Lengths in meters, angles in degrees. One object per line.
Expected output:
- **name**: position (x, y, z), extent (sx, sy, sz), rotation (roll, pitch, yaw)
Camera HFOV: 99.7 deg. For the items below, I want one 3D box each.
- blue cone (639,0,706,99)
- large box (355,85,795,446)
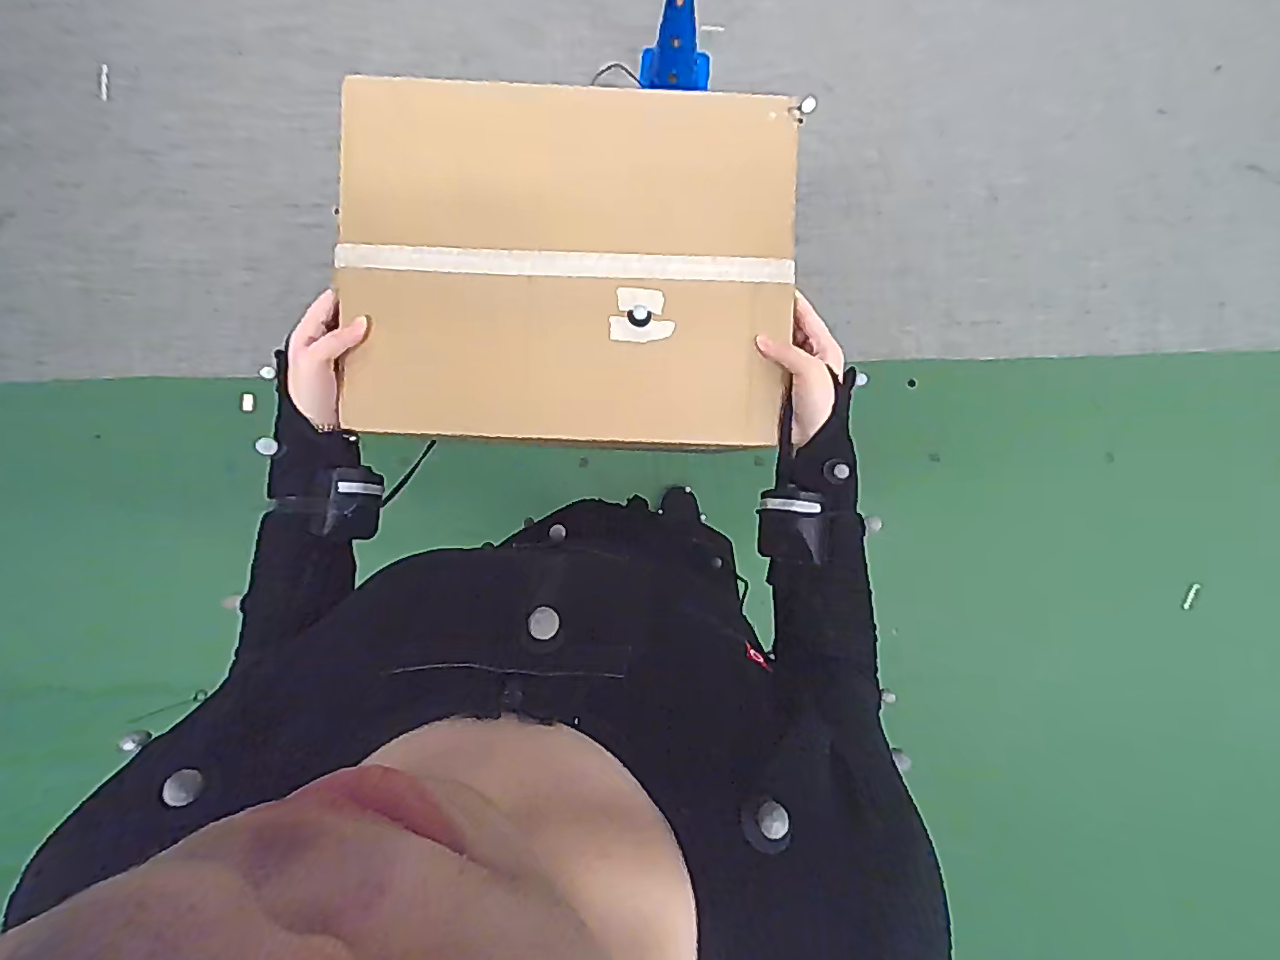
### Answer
- **blue cone**: position (0.095, -1.147, 1.412), extent (0.193, 0.380, 0.192), rotation (7, 88, 0)
- **large box**: position (-0.064, -0.202, 0.642), extent (0.408, 0.320, 0.320), rotation (2, 92, -2)
